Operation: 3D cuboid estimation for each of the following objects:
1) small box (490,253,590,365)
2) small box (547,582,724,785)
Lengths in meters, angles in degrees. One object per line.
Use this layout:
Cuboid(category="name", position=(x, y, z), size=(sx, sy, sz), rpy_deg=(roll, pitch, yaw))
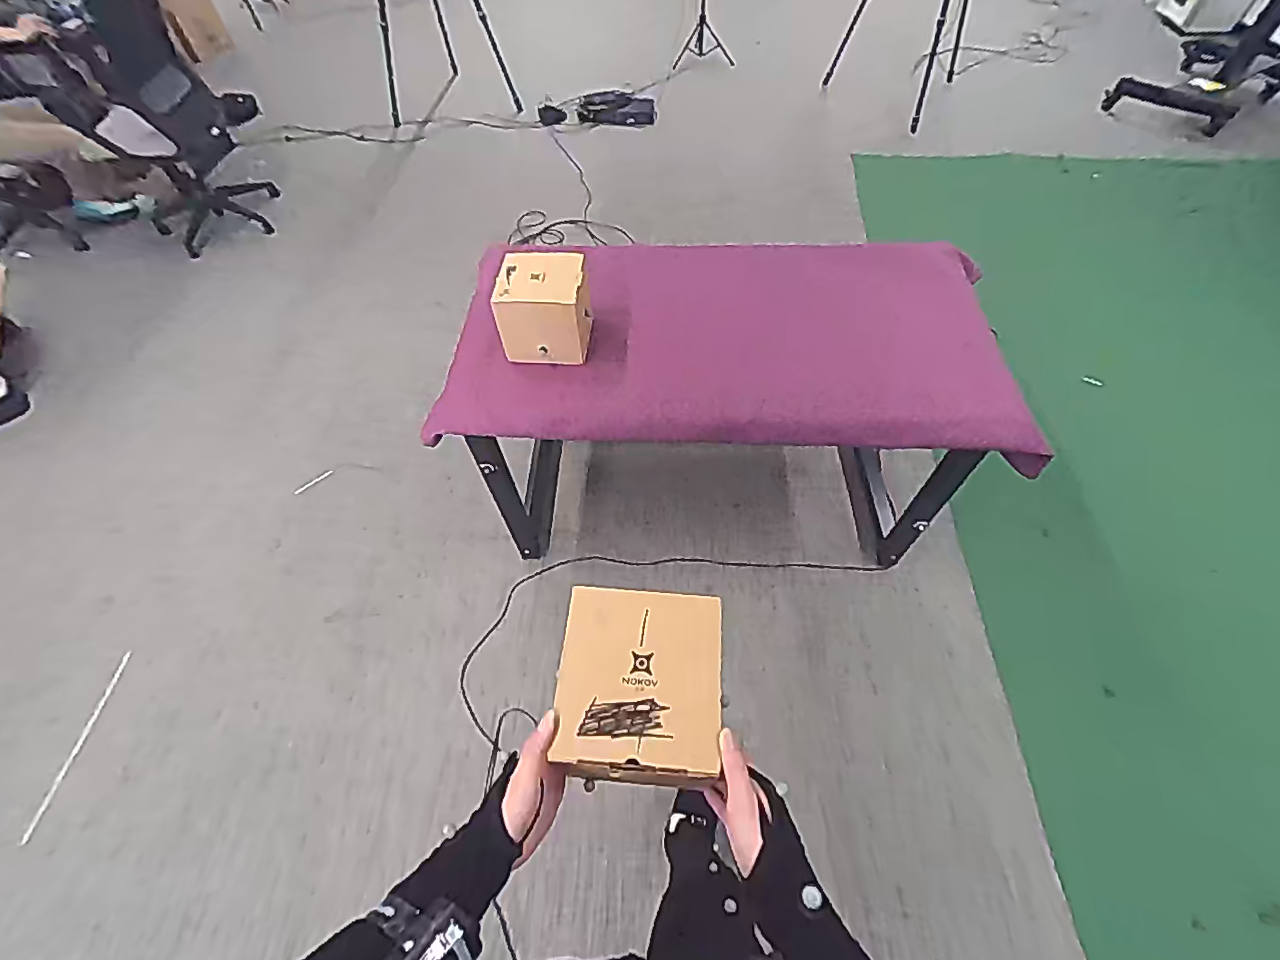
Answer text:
Cuboid(category="small box", position=(-0.208, -0.368, 1.182), size=(0.179, 0.176, 0.168), rpy_deg=(3, 56, 3))
Cuboid(category="small box", position=(0.002, 0.234, 0.609), size=(0.168, 0.176, 0.179), rpy_deg=(4, 56, 2))
